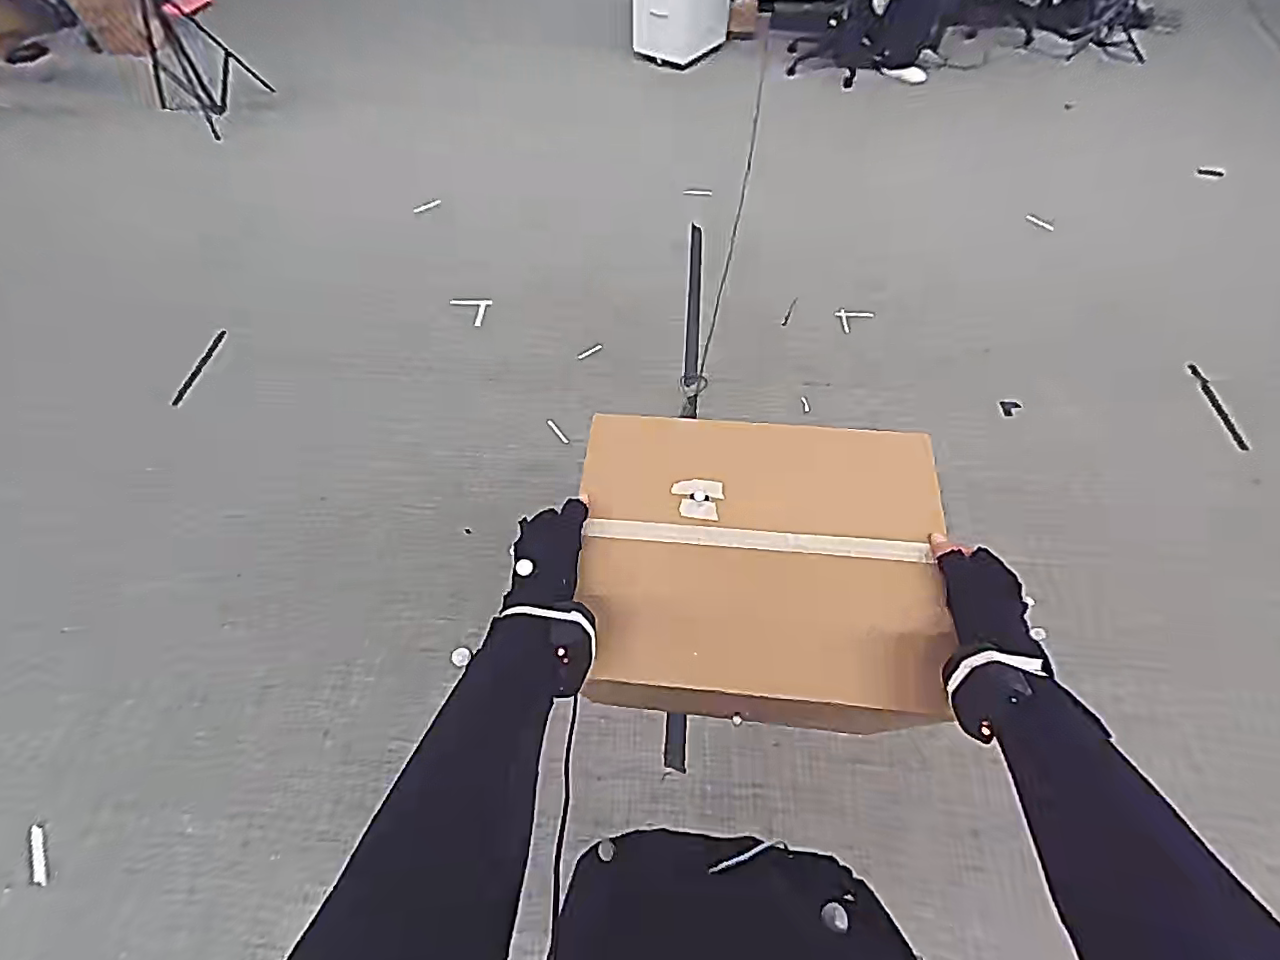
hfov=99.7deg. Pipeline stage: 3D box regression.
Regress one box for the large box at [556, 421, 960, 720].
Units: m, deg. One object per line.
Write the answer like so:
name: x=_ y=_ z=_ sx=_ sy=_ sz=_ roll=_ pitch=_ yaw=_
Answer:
large box: x=0.136 y=0.137 z=0.732 sx=0.408 sy=0.320 sz=0.320 roll=4 pitch=62 yaw=6
